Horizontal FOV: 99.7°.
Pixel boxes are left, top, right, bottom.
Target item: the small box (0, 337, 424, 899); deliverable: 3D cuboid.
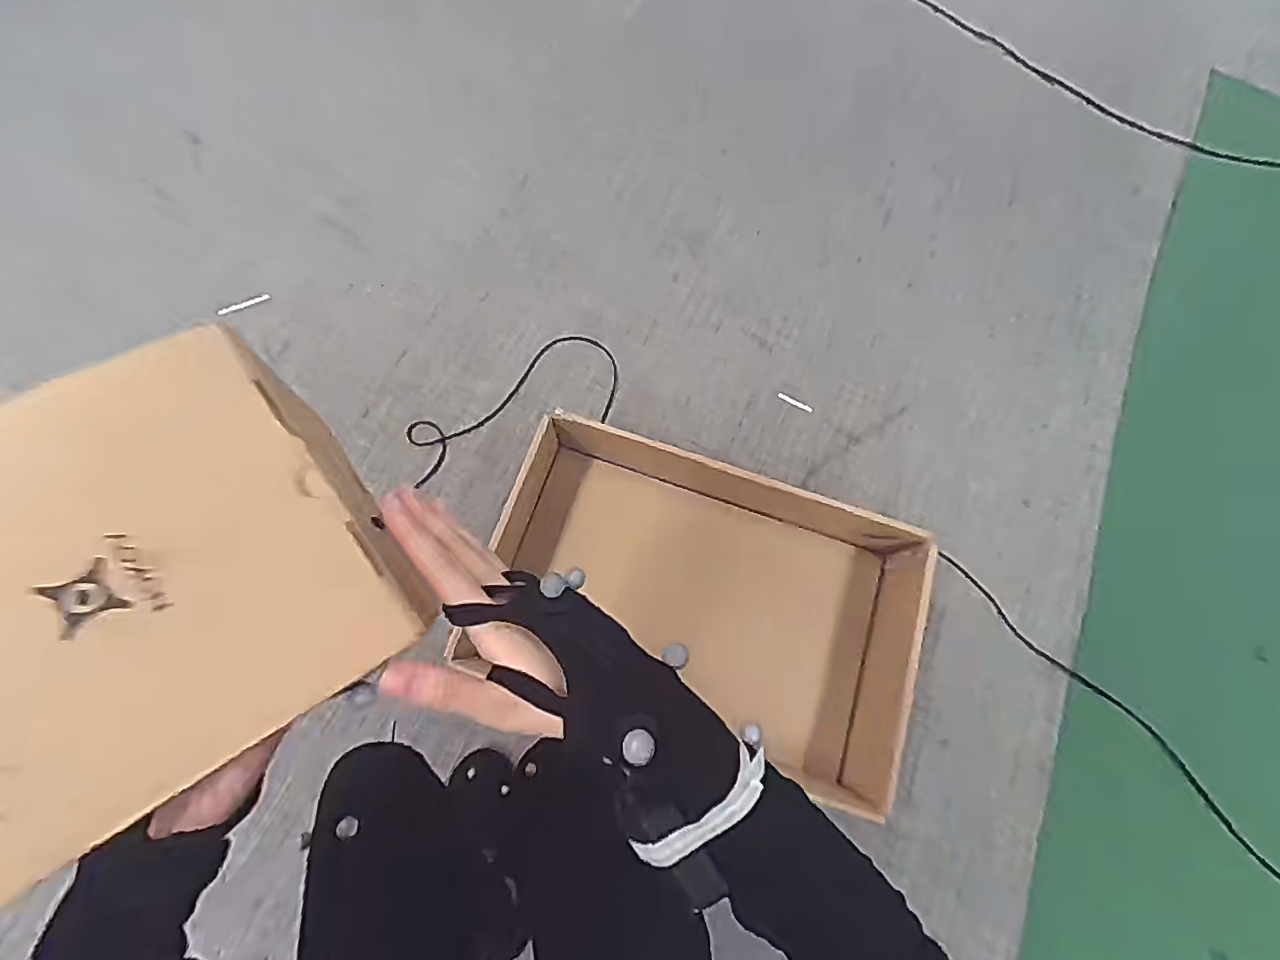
[{"bbox_3d":[-0.239,0.060,0.288,0.179,0.176,0.168,-33,92,-19],"label":"small box"}]
